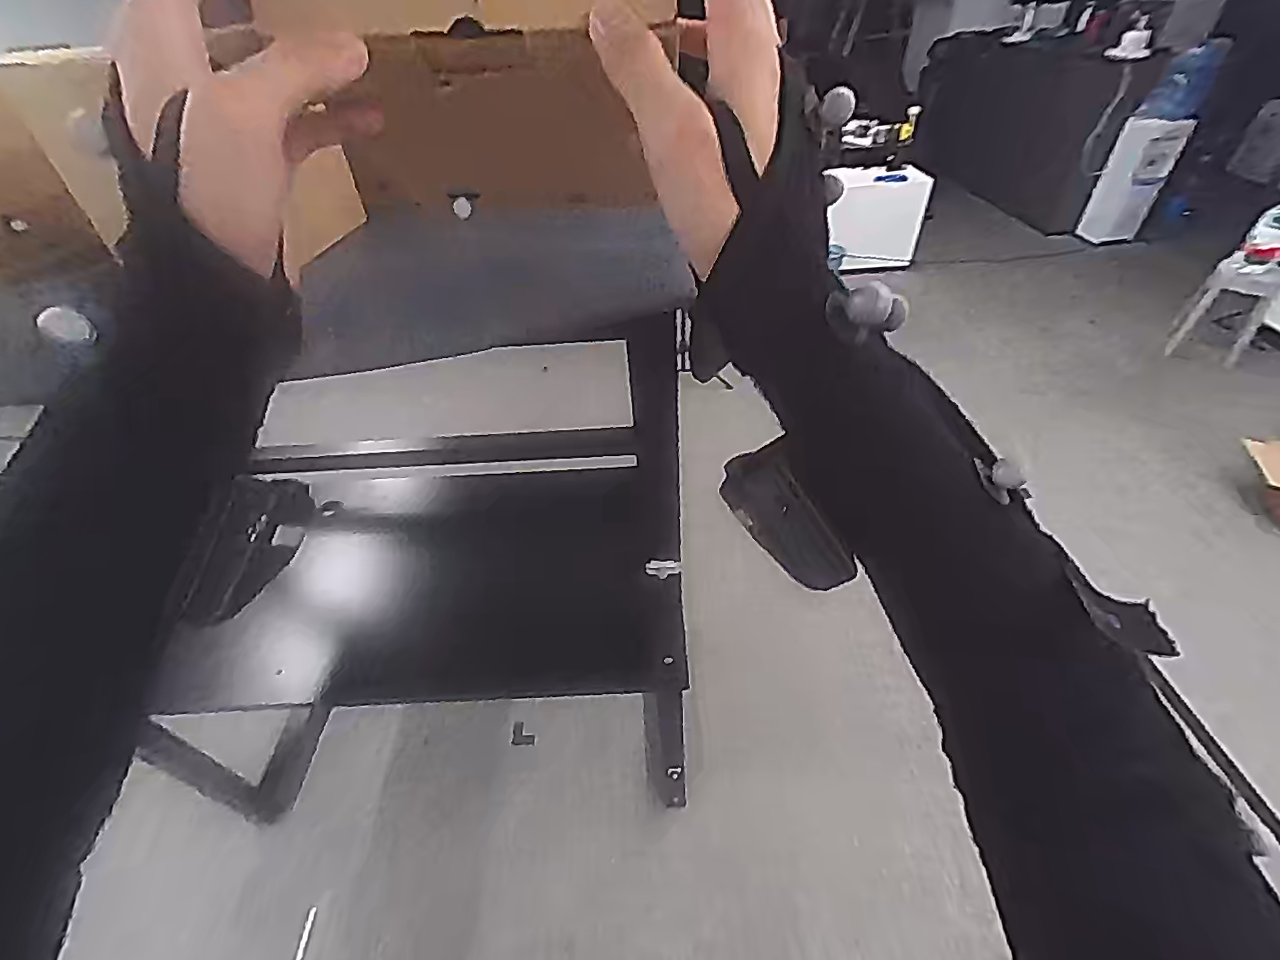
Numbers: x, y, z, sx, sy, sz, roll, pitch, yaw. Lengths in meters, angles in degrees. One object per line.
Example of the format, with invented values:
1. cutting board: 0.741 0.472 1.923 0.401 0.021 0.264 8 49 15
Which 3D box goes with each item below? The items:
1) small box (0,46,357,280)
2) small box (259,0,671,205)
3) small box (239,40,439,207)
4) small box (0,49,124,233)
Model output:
1. small box: -0.408 -0.308 0.526 0.168 0.176 0.179 -1 42 4
2. small box: -0.067 -0.263 0.284 0.168 0.179 0.176 -1 5 1
3. small box: -0.345 -0.457 0.685 0.168 0.176 0.179 -3 43 -1
4. small box: -0.745 -0.435 0.697 0.179 0.176 0.168 -3 43 2
